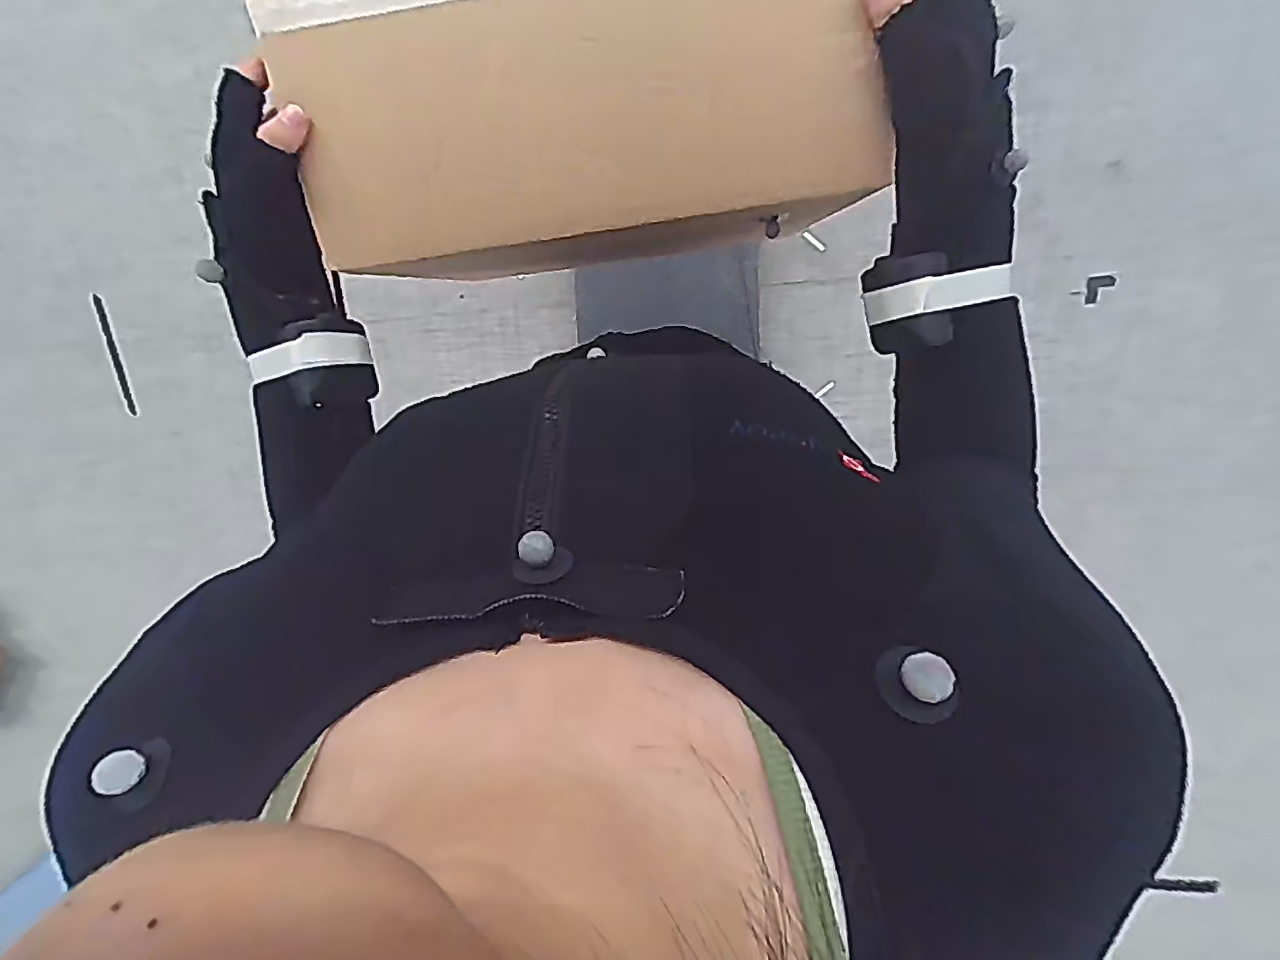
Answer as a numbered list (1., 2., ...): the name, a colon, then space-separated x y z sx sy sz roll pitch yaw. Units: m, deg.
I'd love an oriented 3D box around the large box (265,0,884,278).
1. large box: -0.041 -0.372 0.484 0.408 0.320 0.320 -6 108 4
